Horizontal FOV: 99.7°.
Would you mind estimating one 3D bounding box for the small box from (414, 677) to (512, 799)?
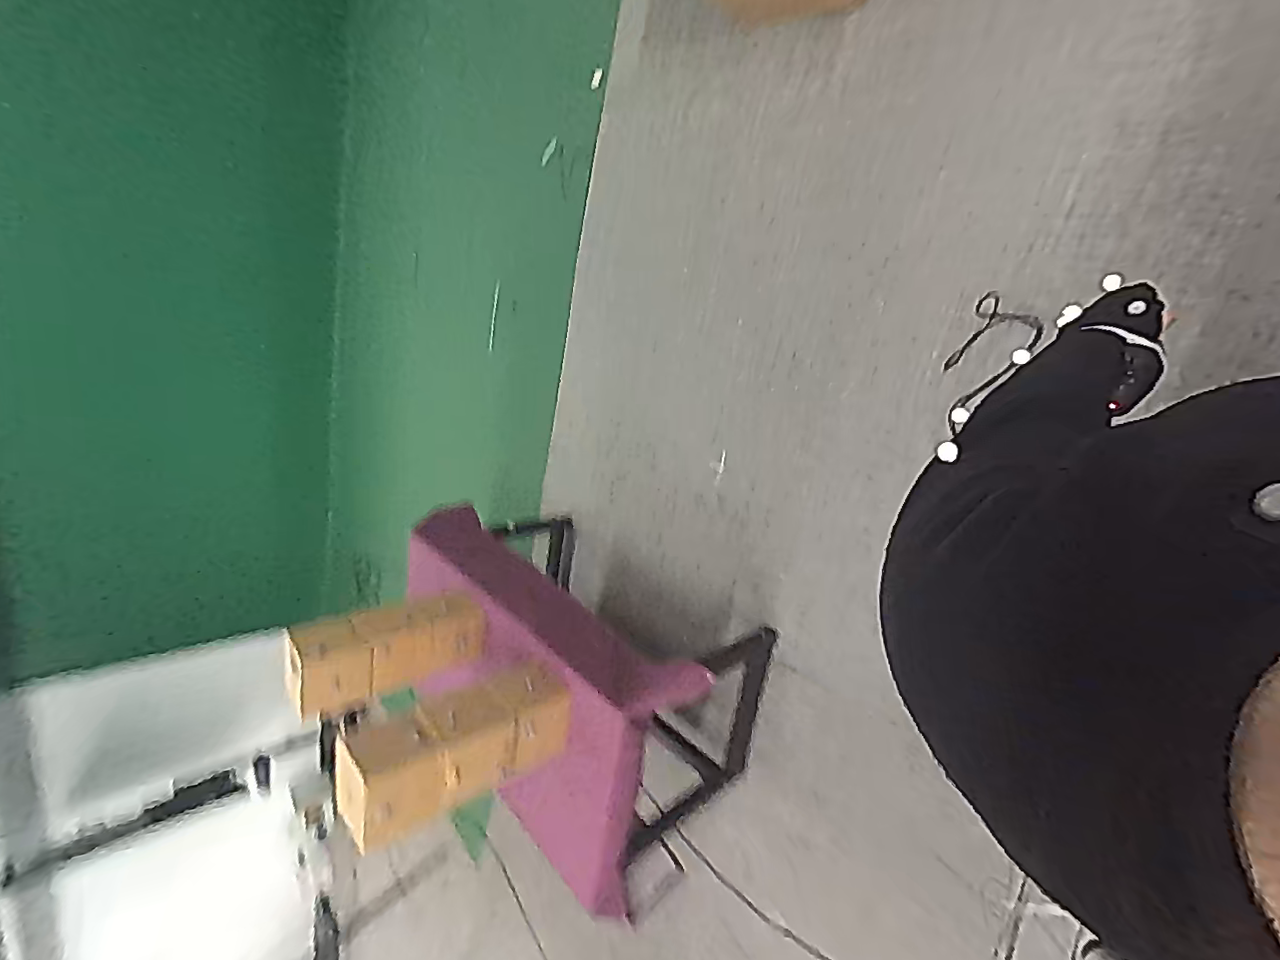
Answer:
[{"bbox_3d":[-0.422,0.595,1.278,0.179,0.176,0.168,24,110,42],"label":"small box"}]

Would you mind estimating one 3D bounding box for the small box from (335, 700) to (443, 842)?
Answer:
[{"bbox_3d":[-0.539,0.615,1.165,0.168,0.176,0.179,21,107,42],"label":"small box"}]

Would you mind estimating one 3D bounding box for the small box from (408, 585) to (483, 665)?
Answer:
[{"bbox_3d":[-0.610,0.443,1.689,0.179,0.176,0.168,22,109,41],"label":"small box"}]

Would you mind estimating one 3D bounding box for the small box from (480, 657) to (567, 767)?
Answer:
[{"bbox_3d":[-0.306,0.586,1.394,0.168,0.176,0.179,24,111,42],"label":"small box"}]

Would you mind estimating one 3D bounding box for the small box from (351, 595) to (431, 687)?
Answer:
[{"bbox_3d":[-0.725,0.461,1.574,0.168,0.176,0.179,24,110,42],"label":"small box"}]
